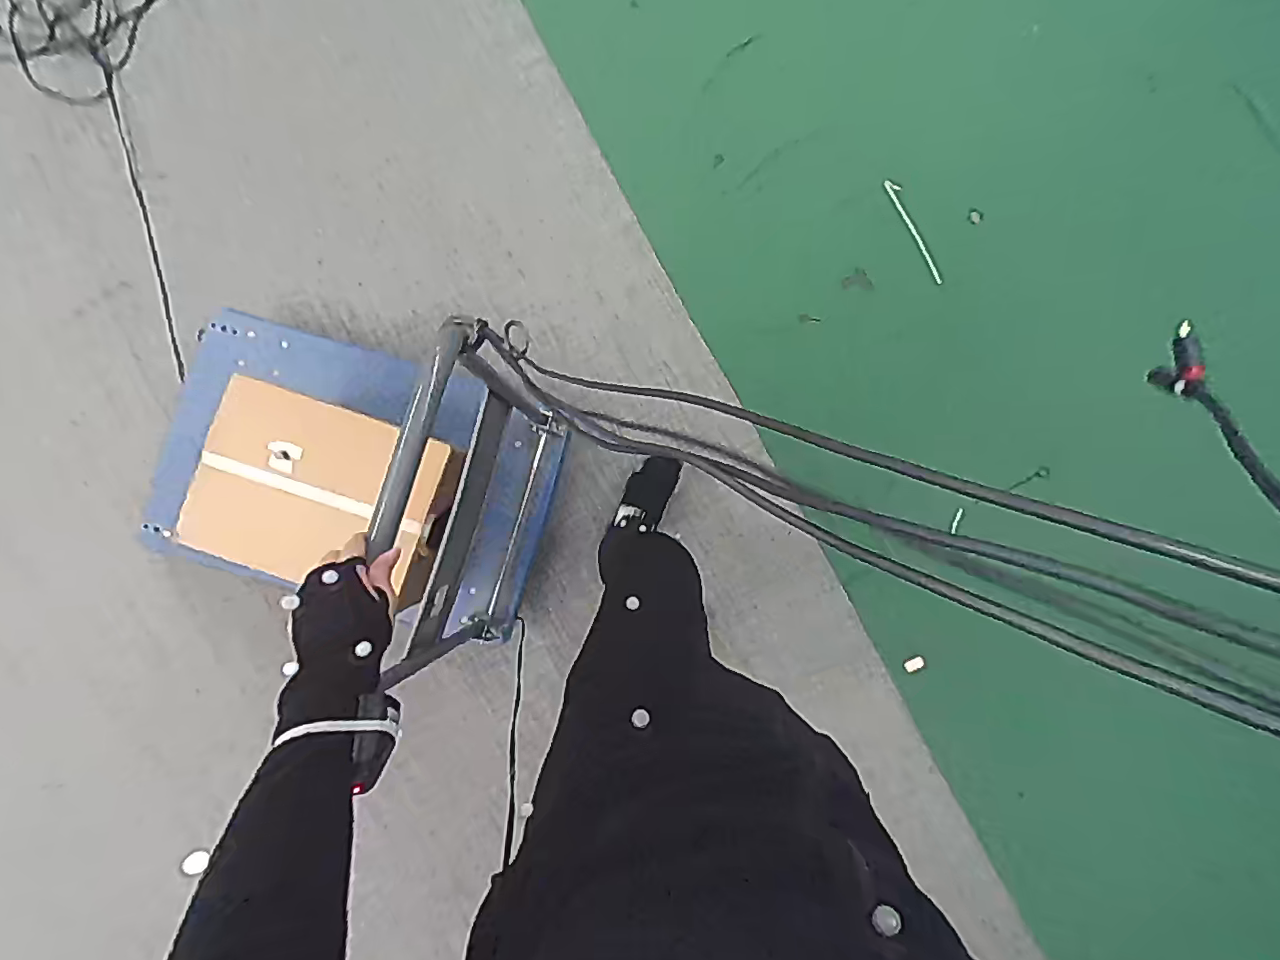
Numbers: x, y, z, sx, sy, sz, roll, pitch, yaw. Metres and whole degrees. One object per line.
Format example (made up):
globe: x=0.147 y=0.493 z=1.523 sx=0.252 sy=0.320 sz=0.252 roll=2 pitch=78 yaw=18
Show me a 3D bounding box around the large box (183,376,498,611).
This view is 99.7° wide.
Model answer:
large box: x=-0.549 y=0.027 z=1.076 sx=0.408 sy=0.320 sz=0.320 roll=19 pitch=87 yaw=0
